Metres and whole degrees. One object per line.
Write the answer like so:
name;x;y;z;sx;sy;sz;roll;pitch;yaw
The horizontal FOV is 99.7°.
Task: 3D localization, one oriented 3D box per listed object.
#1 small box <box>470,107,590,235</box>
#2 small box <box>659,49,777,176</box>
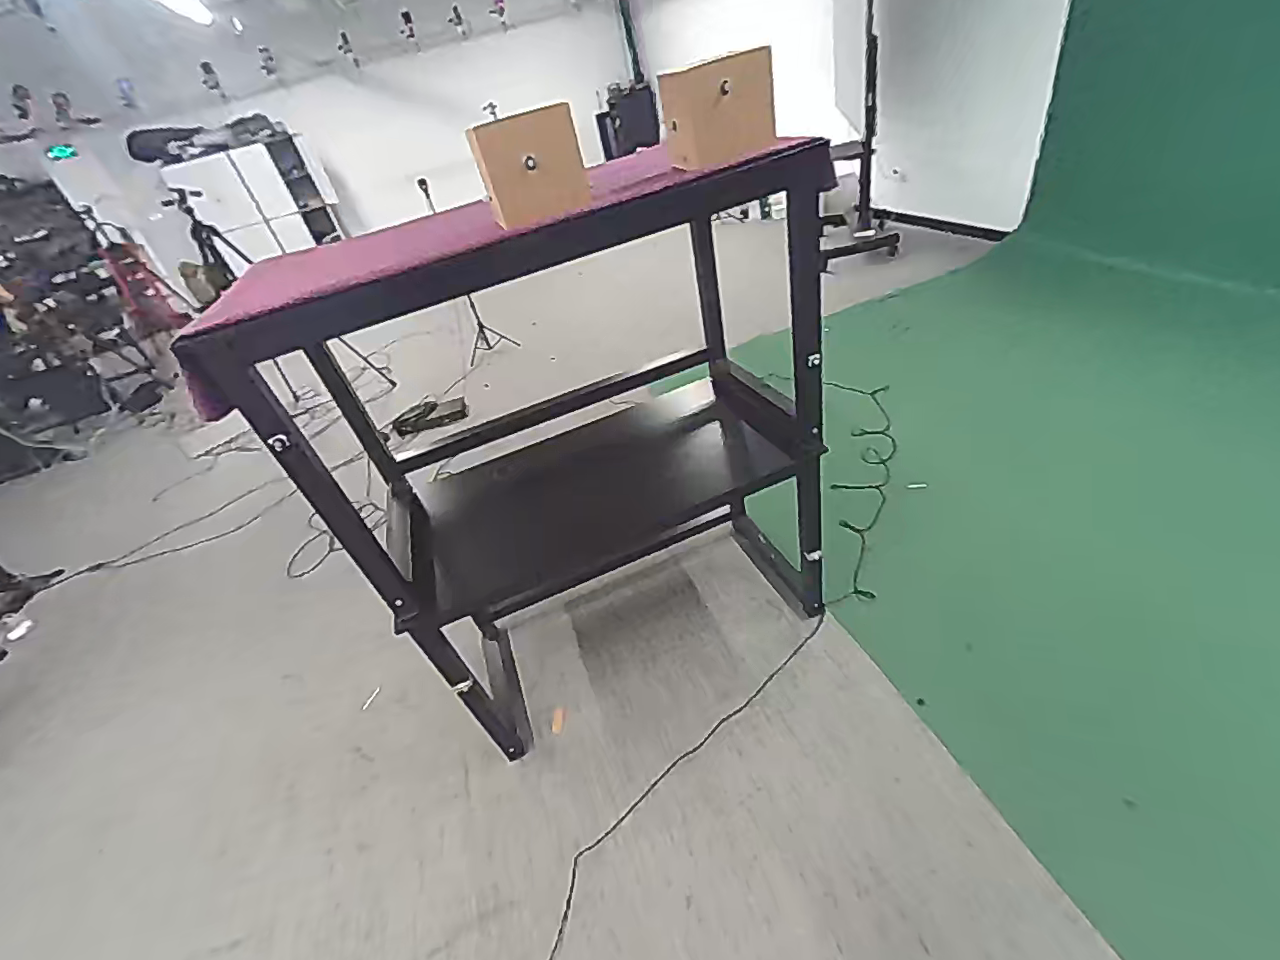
small box;-0.205;-0.589;1.032;0.179;0.176;0.168;-22;36;-7
small box;0.157;-0.726;1.079;0.179;0.176;0.168;-20;38;-4
